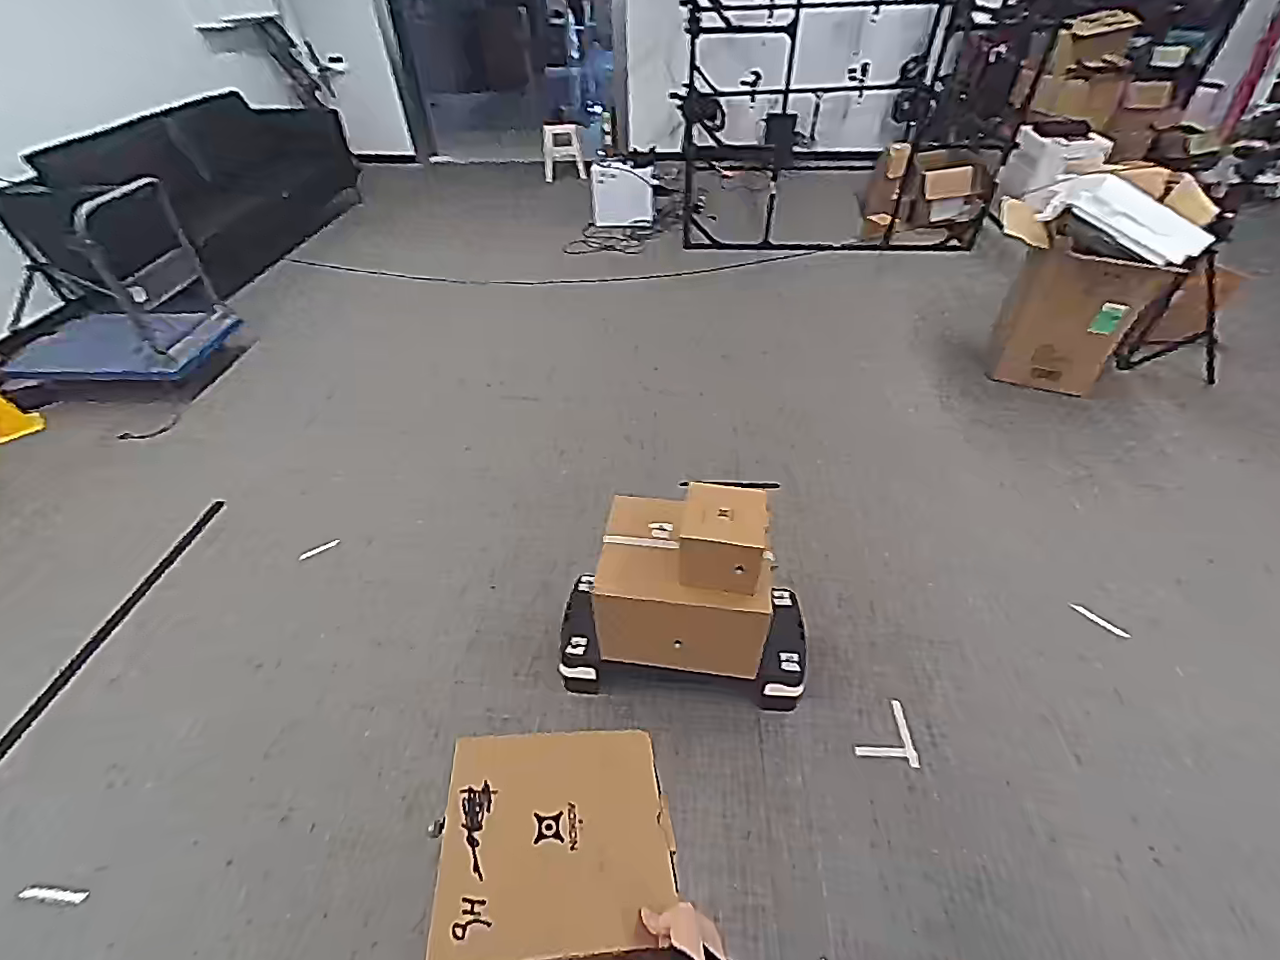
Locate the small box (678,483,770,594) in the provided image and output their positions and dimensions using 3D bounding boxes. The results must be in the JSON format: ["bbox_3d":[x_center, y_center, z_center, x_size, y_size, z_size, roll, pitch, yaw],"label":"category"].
[{"bbox_3d":[0.183,0.131,1.190,0.179,0.176,0.168,7,45,10],"label":"small box"}]

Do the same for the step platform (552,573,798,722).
[{"bbox_3d":[0.098,0.463,1.545,0.684,0.204,0.286,6,44,9],"label":"step platform"}]

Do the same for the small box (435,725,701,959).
[{"bbox_3d":[-0.068,0.332,0.452,0.179,0.176,0.168,6,27,-13],"label":"small box"}]

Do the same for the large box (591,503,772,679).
[{"bbox_3d":[0.114,0.284,1.388,0.408,0.320,0.320,4,43,7],"label":"large box"}]
